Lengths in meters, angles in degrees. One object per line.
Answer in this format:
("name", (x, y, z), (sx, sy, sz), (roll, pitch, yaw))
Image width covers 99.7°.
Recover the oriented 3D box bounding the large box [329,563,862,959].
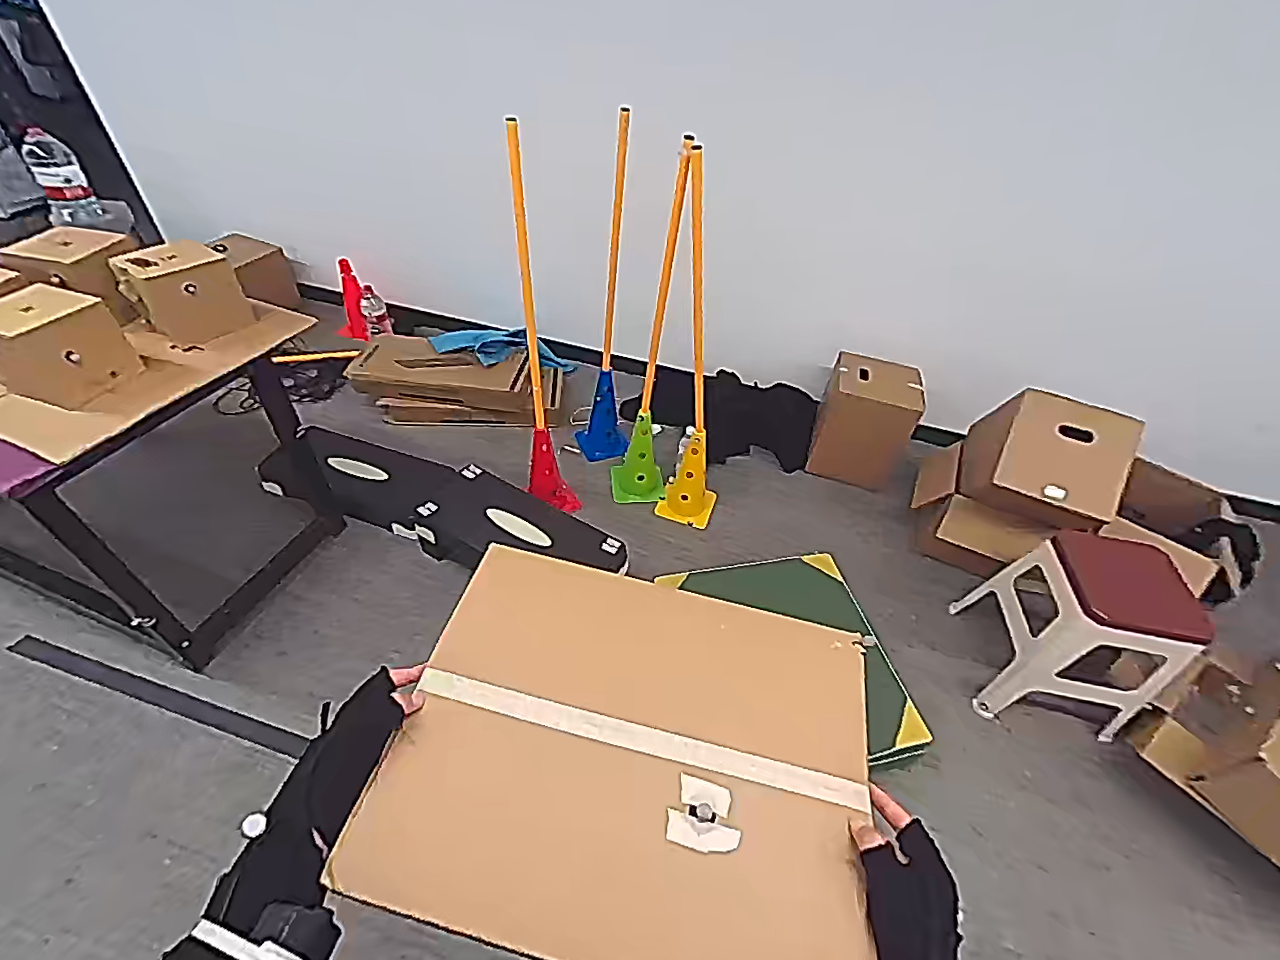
("large box", (-0.022, 0.339, 0.590), (0.408, 0.320, 0.320), (13, 49, 5))
